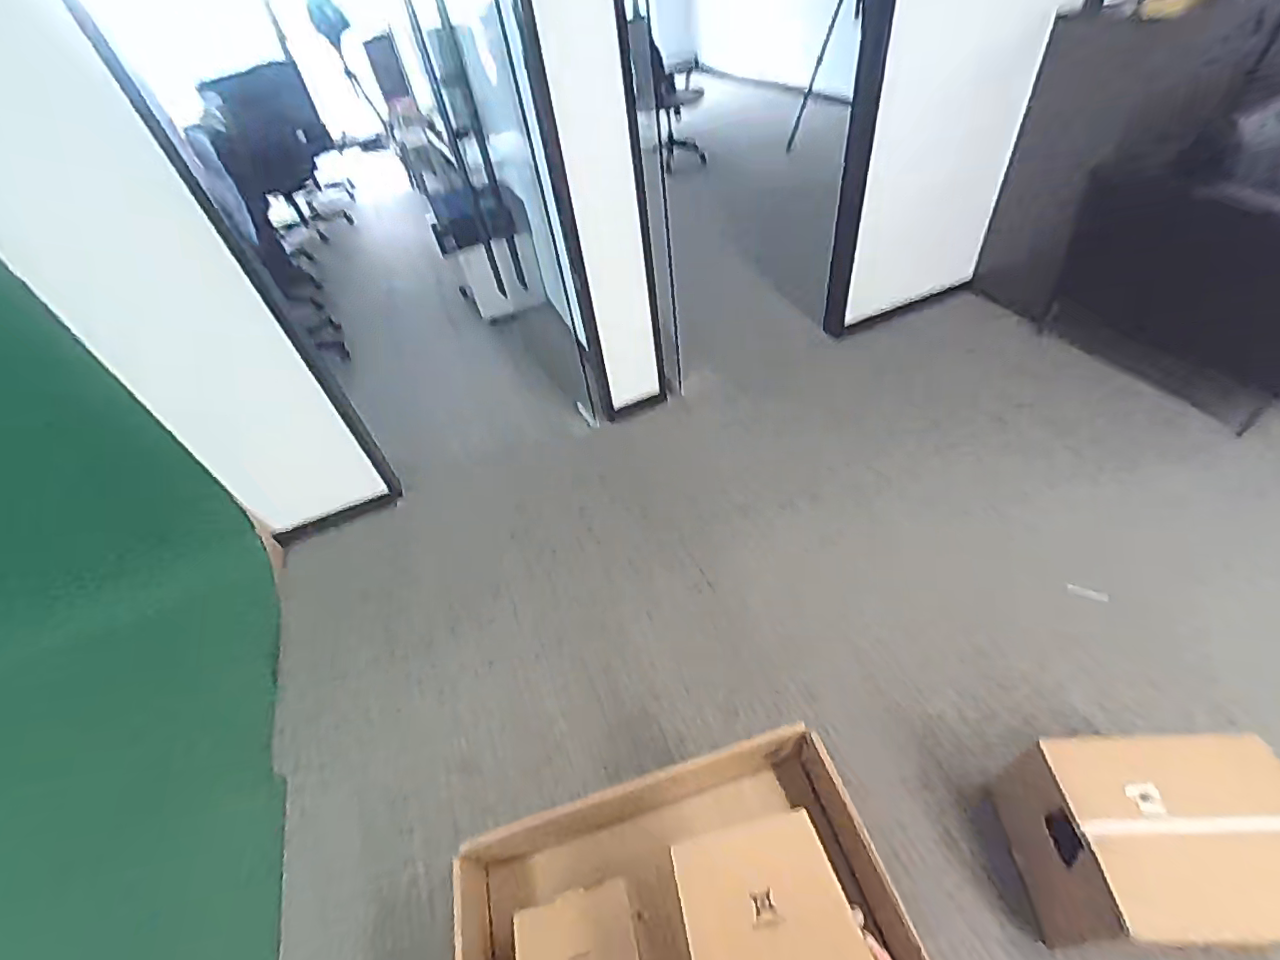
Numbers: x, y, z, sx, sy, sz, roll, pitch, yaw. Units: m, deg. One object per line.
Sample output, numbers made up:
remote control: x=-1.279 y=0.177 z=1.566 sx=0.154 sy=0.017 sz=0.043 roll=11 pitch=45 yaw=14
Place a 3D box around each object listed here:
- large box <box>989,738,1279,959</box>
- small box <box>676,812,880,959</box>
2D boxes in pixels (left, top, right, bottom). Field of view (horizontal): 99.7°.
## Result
large box: x=1.002 y=0.727 z=1.058 sx=0.408 sy=0.320 sz=0.320 roll=-5 pitch=45 yaw=6
small box: x=0.140 y=0.499 z=0.565 sx=0.168 sy=0.176 sz=0.179 roll=-11 pitch=24 yaw=-5
